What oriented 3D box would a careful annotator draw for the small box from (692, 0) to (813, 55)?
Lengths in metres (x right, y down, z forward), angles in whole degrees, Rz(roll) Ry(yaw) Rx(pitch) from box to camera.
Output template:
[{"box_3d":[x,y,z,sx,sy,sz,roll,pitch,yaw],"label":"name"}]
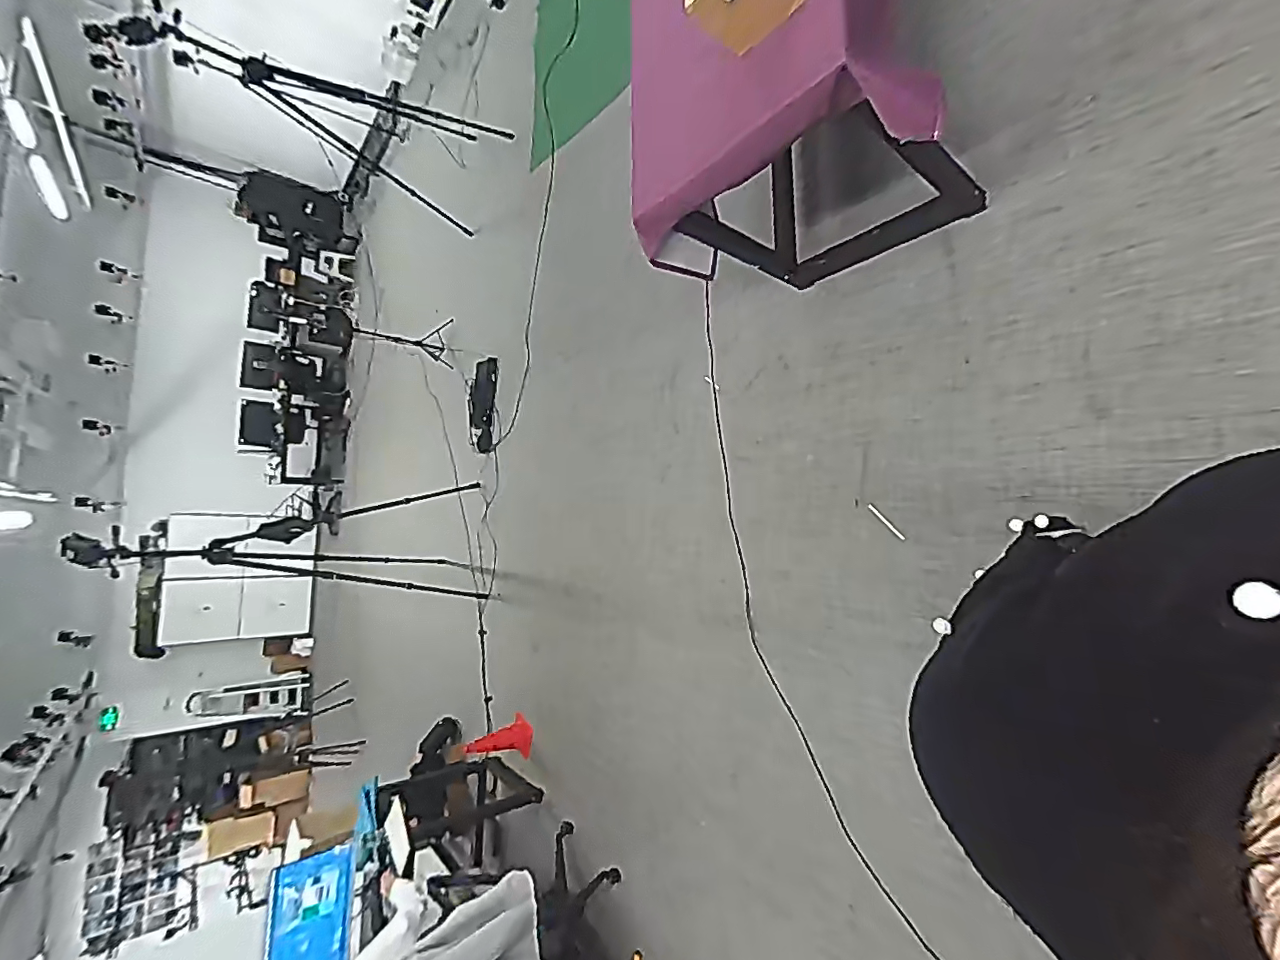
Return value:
[{"box_3d":[0.224,-0.988,1.049,0.179,0.176,0.168,0,86,51],"label":"small box"}]
